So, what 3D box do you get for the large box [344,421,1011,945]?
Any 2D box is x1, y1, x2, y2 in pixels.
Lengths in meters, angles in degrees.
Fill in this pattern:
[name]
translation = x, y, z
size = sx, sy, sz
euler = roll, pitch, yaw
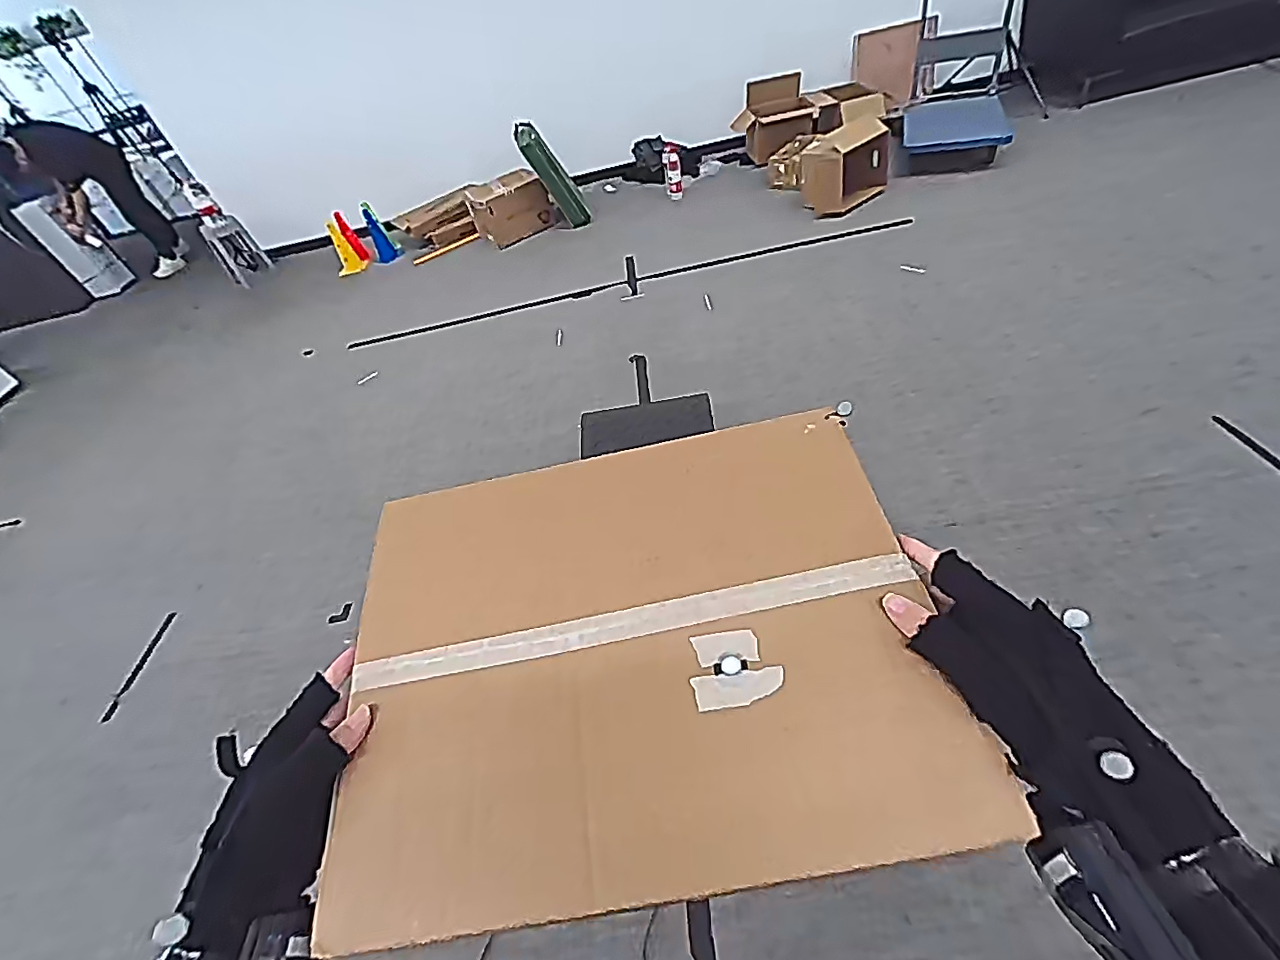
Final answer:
[large box]
translation = 0.018, 0.195, 0.517
size = 0.408, 0.320, 0.320
euler = -12, 54, 2
